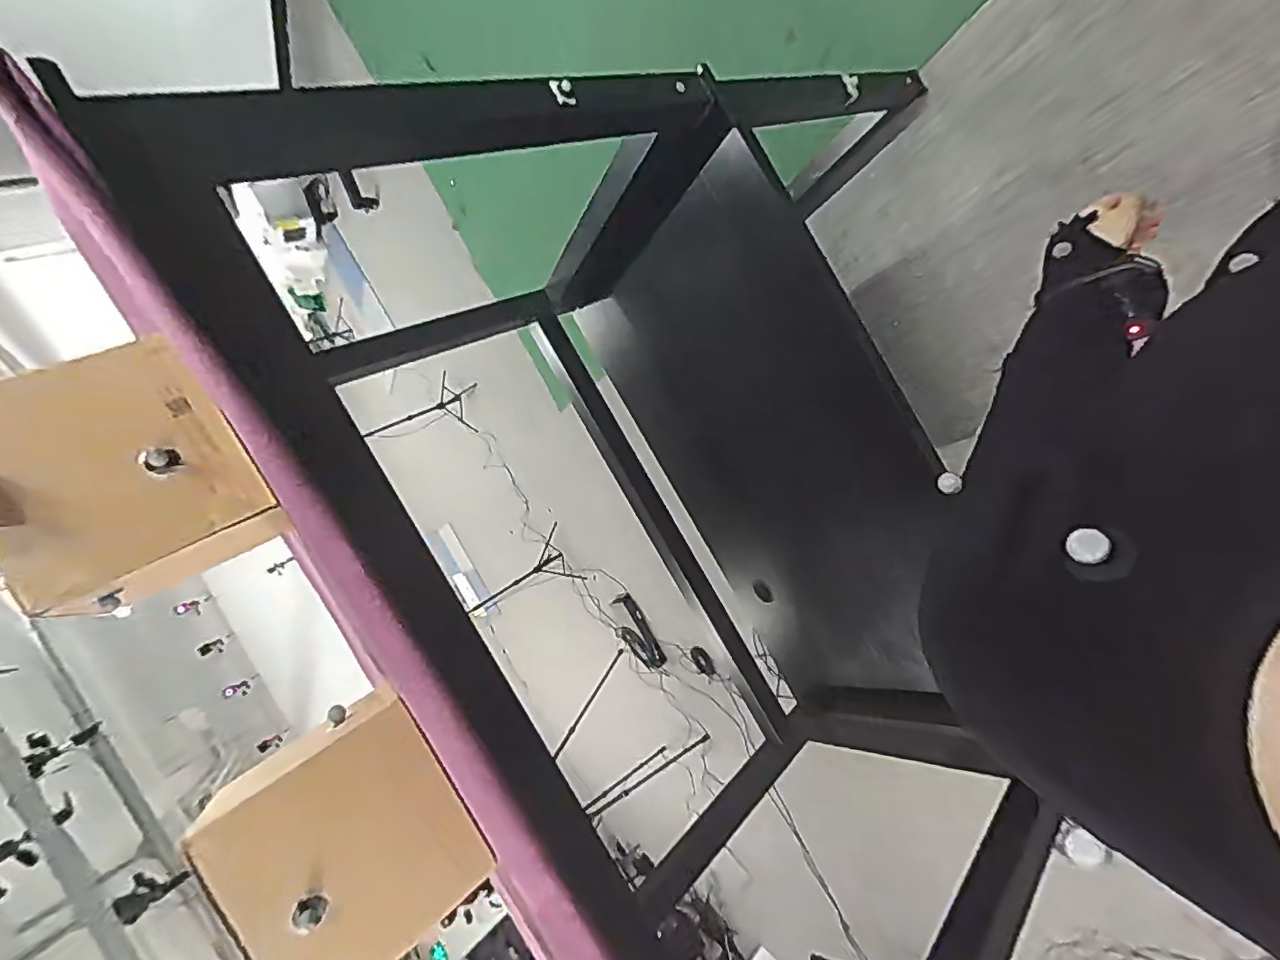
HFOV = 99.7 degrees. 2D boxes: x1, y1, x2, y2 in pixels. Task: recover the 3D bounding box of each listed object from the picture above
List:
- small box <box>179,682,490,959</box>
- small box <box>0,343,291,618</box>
[{"bbox_3d":[-0.261,0.316,0.495,0.179,0.176,0.168,61,149,-1],"label":"small box"},{"bbox_3d":[-0.441,0.004,0.484,0.168,0.176,0.179,60,149,-4],"label":"small box"}]
